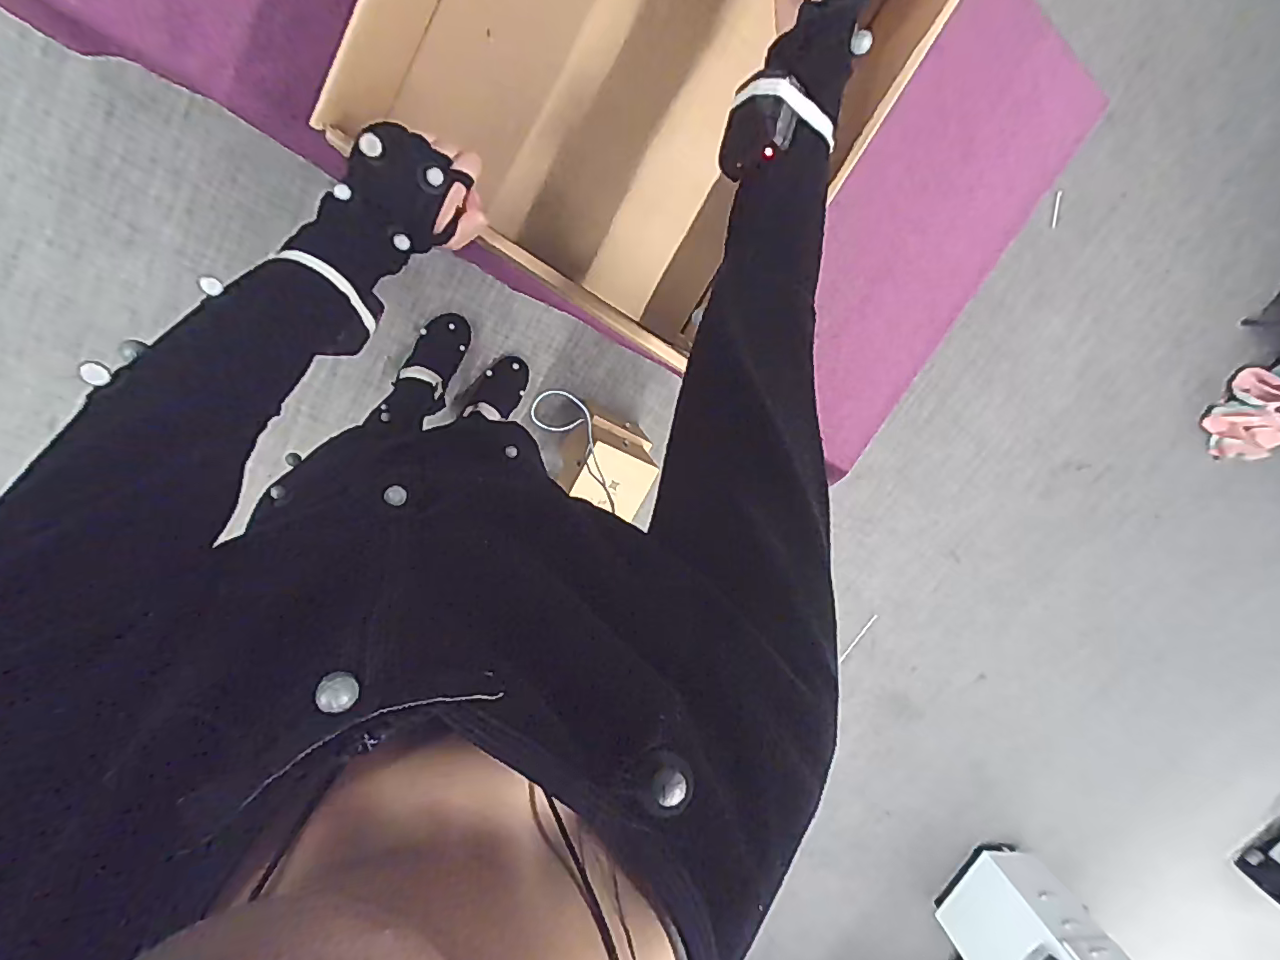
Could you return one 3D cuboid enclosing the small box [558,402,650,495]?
[{"bbox_3d":[-0.103,-0.089,1.446,0.179,0.176,0.168,26,104,-21],"label":"small box"}]
